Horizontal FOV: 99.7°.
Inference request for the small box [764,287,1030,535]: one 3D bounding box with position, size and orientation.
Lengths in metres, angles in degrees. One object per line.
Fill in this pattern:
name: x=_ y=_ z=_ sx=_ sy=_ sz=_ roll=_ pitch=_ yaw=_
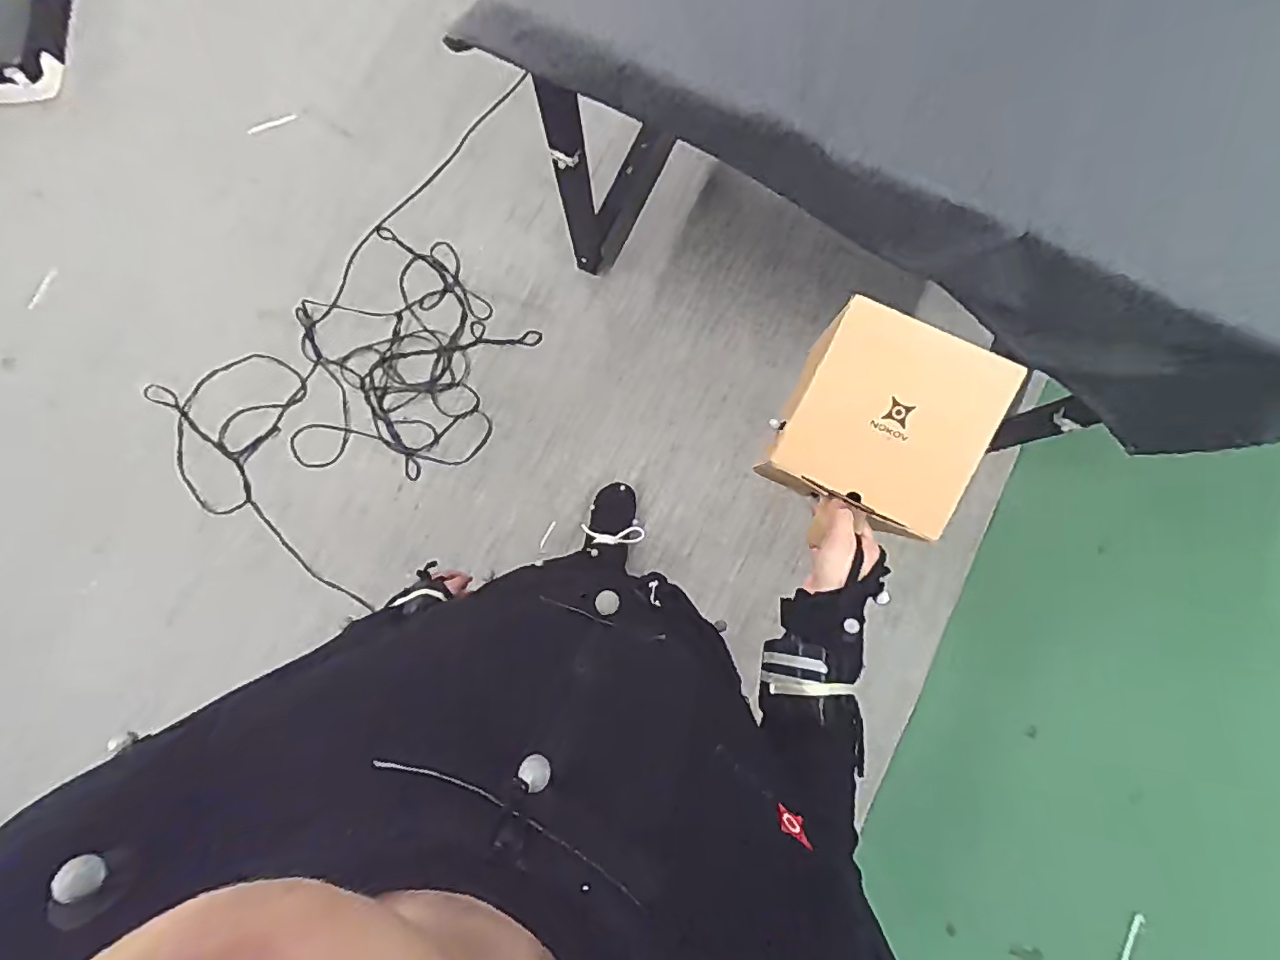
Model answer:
small box: x=0.242 y=-0.063 z=0.564 sx=0.168 sy=0.176 sz=0.179 roll=26 pitch=93 yaw=5
